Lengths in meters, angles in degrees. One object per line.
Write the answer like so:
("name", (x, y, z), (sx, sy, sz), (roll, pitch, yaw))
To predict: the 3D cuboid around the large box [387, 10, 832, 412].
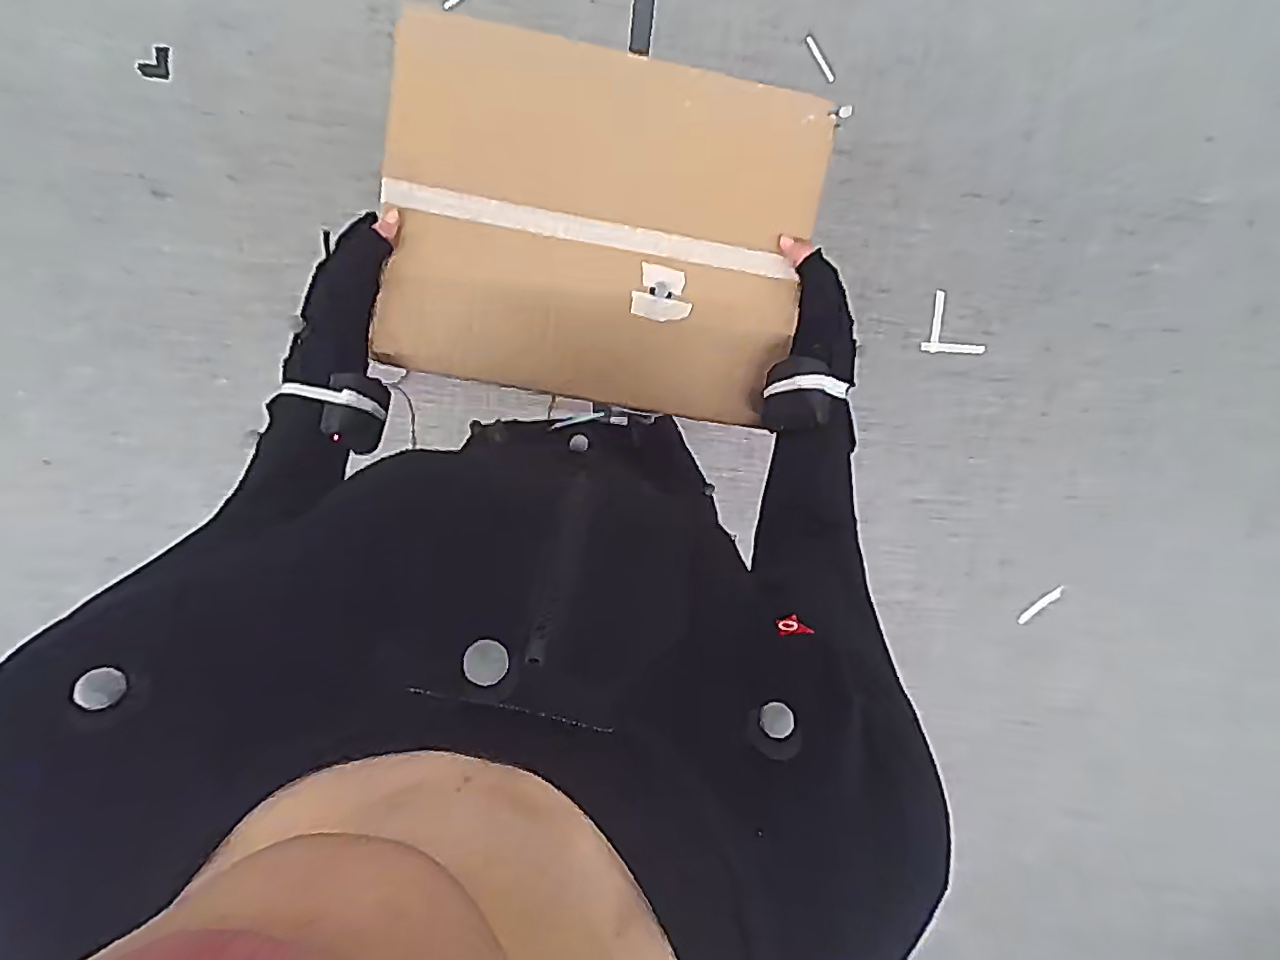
("large box", (-0.044, -0.271, 0.671), (0.408, 0.320, 0.320), (9, 100, -6))
